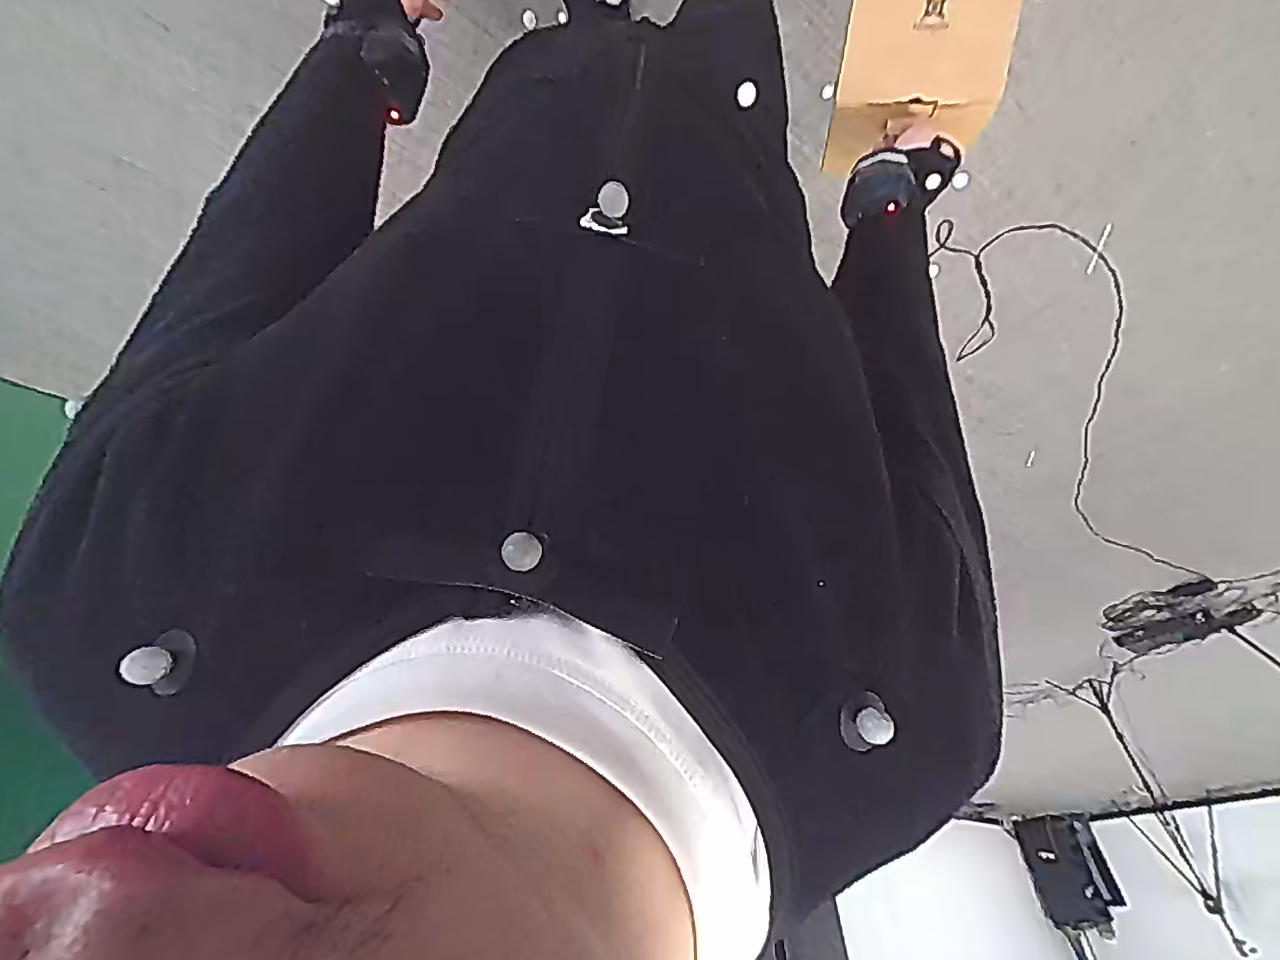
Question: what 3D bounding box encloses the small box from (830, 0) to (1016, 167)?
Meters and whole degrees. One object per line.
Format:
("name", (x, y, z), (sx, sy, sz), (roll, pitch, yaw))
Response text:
("small box", (0.322, -0.493, 0.638), (0.168, 0.176, 0.179), (8, 97, 15))
